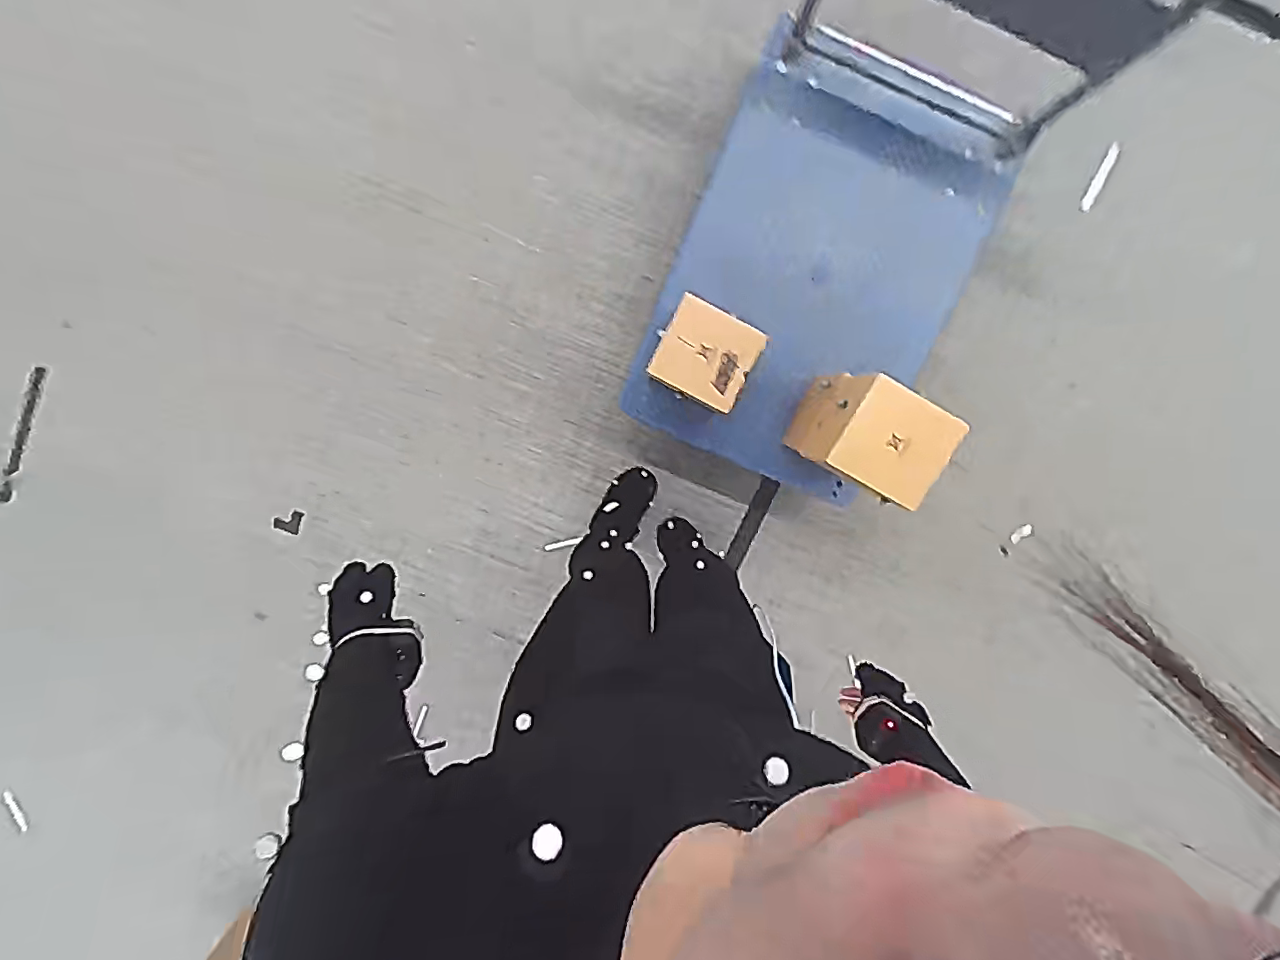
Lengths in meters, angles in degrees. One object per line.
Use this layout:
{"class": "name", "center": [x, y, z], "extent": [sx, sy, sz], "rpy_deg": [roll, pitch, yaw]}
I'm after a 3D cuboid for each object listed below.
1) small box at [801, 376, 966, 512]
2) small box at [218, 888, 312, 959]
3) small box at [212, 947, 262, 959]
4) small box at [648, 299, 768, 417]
{"class": "small box", "center": [0.416, -0.066, 0.959], "extent": [0.179, 0.176, 0.168], "rpy_deg": [29, 98, -4]}
{"class": "small box", "center": [-1.094, 1.350, 1.570], "extent": [0.168, 0.176, 0.179], "rpy_deg": [21, 99, -2]}
{"class": "small box", "center": [-1.094, 1.380, 1.408], "extent": [0.179, 0.176, 0.168], "rpy_deg": [21, 99, -1]}
{"class": "small box", "center": [0.130, -0.243, 1.100], "extent": [0.179, 0.176, 0.168], "rpy_deg": [28, 98, -2]}
